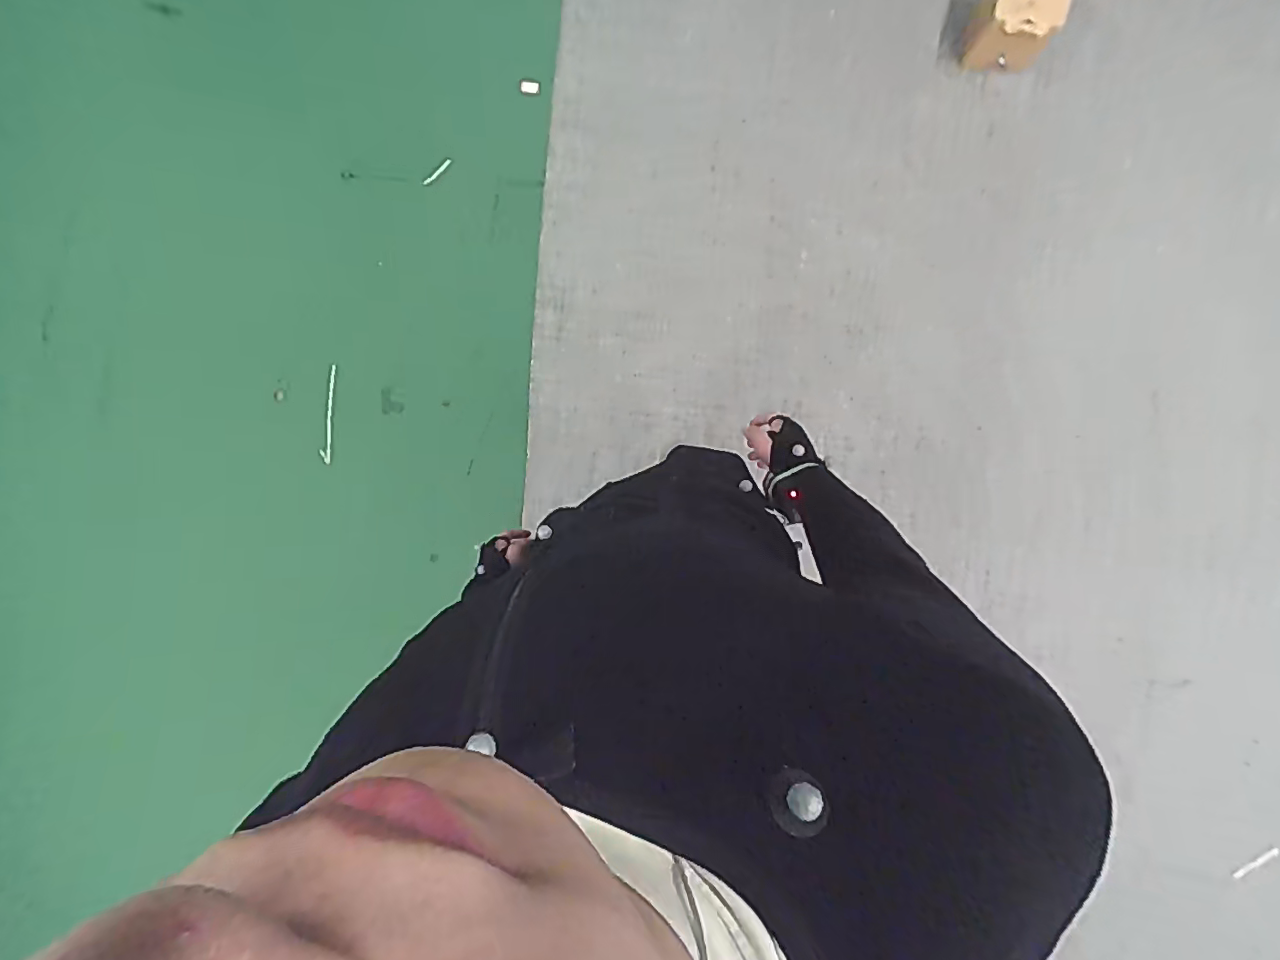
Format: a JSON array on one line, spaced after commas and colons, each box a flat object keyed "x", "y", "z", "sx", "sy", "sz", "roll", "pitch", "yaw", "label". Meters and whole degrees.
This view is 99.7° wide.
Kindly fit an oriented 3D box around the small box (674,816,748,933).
[{"x": 0.185, "y": 1.037, "z": 1.437, "sx": 0.168, "sy": 0.176, "sz": 0.179, "roll": 9, "pitch": 96, "yaw": 5, "label": "small box"}]

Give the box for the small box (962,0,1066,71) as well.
[{"x": 0.952, "y": -1.192, "z": 1.366, "sx": 0.168, "sy": 0.176, "sz": 0.179, "roll": 18, "pitch": 97, "yaw": 6, "label": "small box"}]

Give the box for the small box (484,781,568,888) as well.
[{"x": -0.304, "y": 0.960, "z": 1.480, "sx": 0.179, "sy": 0.176, "sz": 0.168, "roll": 9, "pitch": 94, "yaw": 4, "label": "small box"}]
